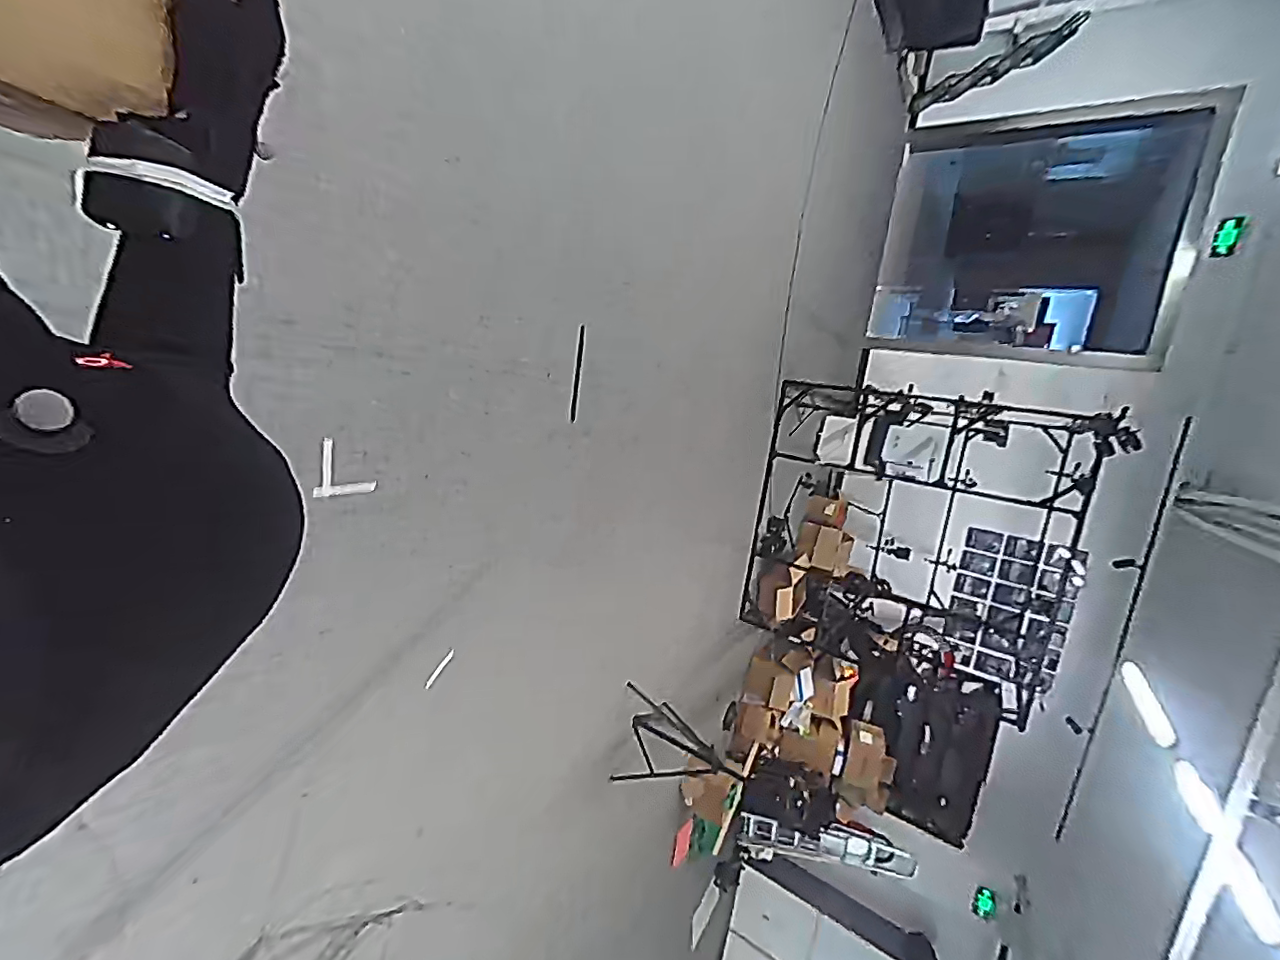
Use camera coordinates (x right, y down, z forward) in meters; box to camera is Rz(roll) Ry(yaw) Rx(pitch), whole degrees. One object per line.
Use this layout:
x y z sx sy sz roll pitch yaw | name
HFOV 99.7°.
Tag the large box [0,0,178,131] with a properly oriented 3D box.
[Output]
-0.525 -0.438 0.262 0.408 0.320 0.320 0 110 -60 | large box
